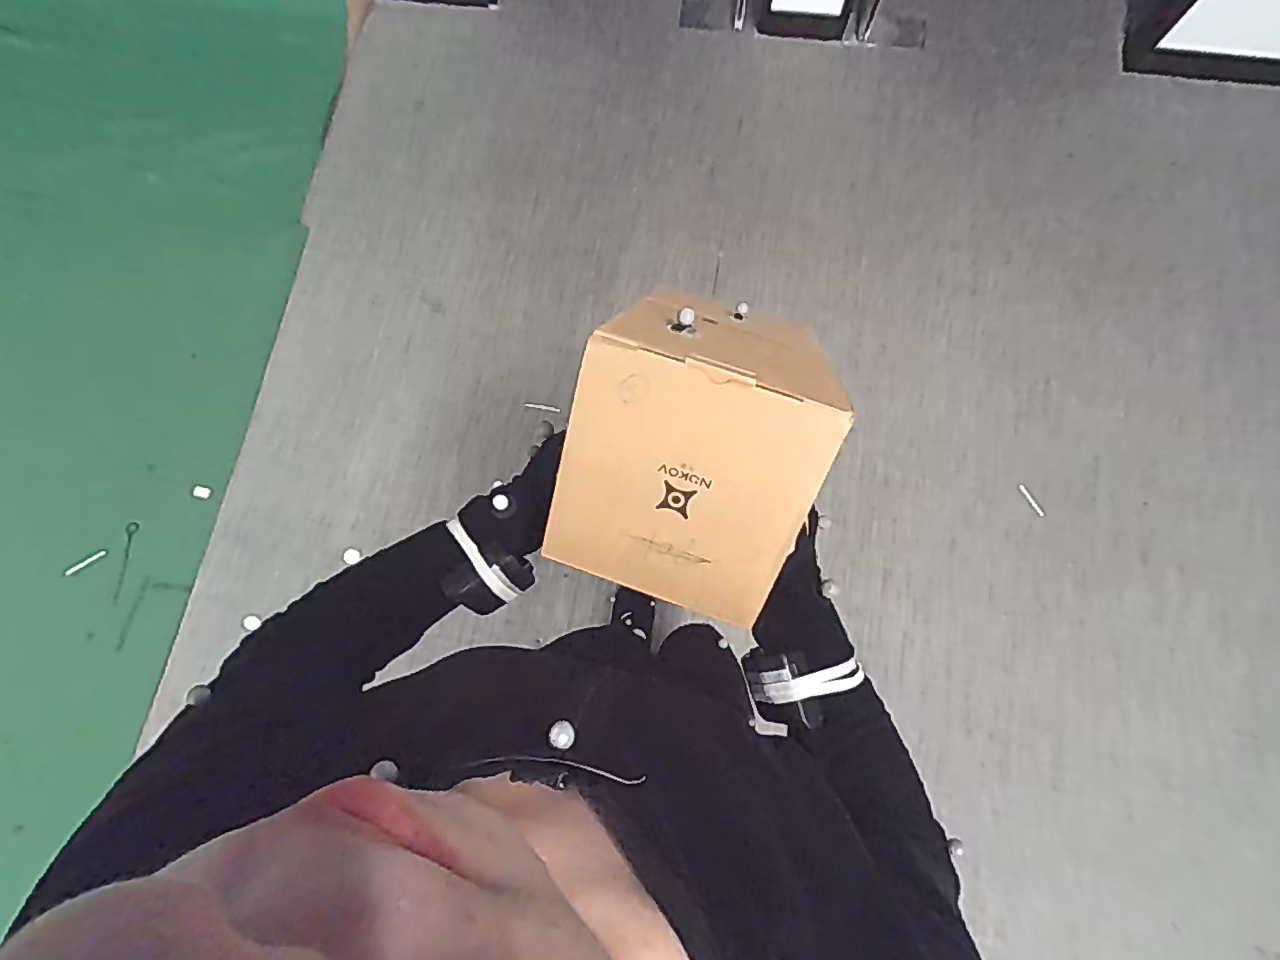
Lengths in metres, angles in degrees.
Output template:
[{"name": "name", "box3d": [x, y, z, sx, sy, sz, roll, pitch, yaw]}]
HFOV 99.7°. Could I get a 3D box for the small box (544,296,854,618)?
[{"name": "small box", "box3d": [0.043, -0.032, 0.429, 0.168, 0.176, 0.179, 20, 118, 4]}]
